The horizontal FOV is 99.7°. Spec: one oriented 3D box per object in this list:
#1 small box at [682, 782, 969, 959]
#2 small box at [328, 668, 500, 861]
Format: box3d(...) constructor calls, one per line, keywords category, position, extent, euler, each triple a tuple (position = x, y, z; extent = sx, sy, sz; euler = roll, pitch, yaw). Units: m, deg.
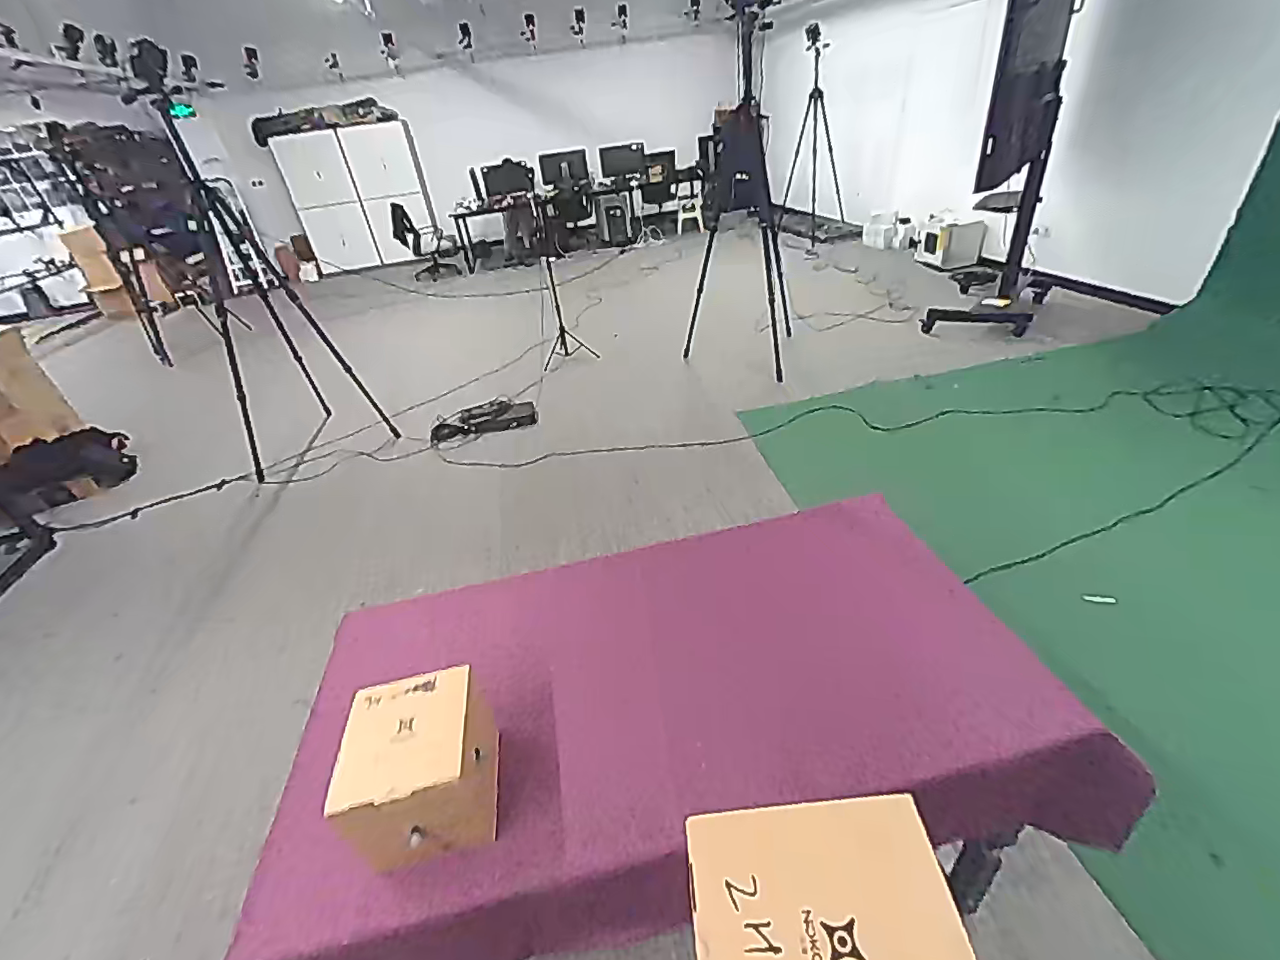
box3d(category="small box", position=(0.133, 0.358, 0.412), extent=(0.179, 0.176, 0.168), euler=(-10, 37, 5))
box3d(category="small box", position=(-0.302, 0.406, 0.768), extent=(0.168, 0.176, 0.179), euler=(-12, 34, -5))
